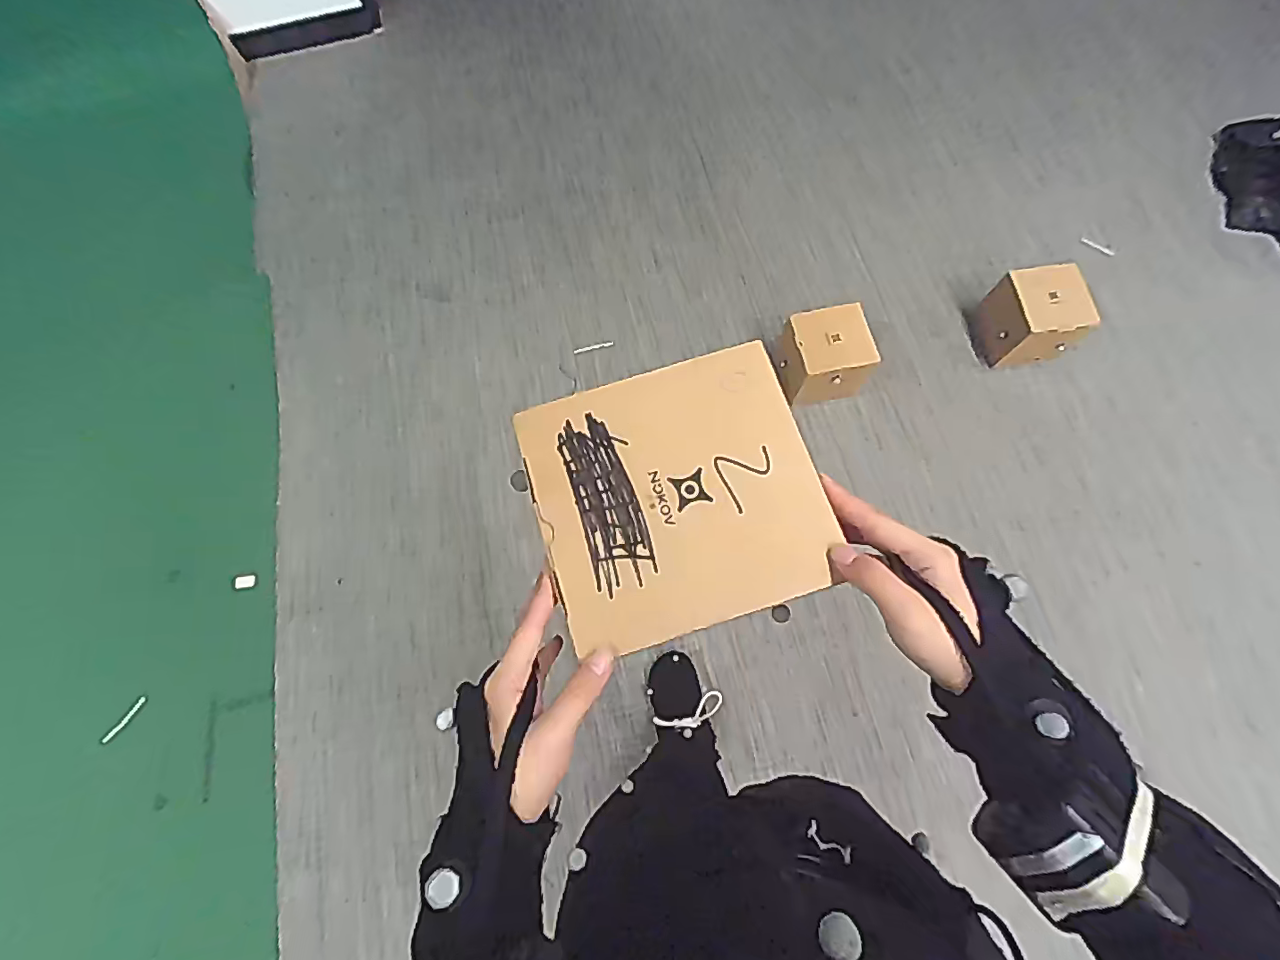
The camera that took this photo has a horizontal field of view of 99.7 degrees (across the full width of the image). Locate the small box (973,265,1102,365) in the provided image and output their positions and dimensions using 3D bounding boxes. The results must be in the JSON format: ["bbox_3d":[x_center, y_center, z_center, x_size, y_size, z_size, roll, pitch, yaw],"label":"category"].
[{"bbox_3d":[0.969,-0.398,1.336,0.168,0.176,0.179,-7,71,-1],"label":"small box"}]

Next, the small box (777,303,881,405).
[{"bbox_3d":[0.454,-0.304,1.329,0.179,0.176,0.168,-11,72,-1],"label":"small box"}]
